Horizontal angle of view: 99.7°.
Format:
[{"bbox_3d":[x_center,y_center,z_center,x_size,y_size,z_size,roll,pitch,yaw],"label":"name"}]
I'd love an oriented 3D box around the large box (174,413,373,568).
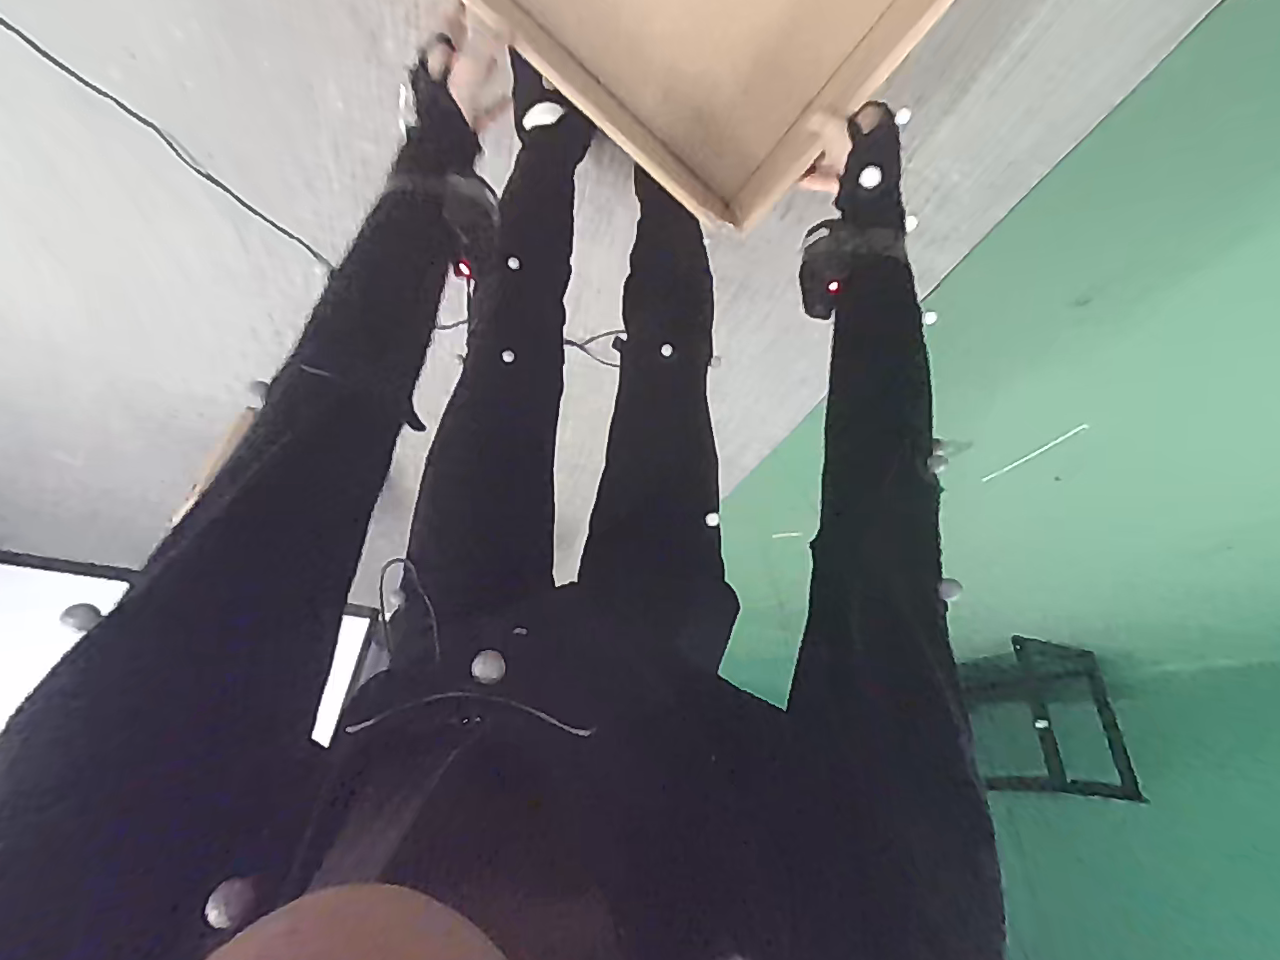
[{"bbox_3d":[-1.163,0.049,1.748,0.320,0.320,0.408,-22,138,37],"label":"large box"}]
